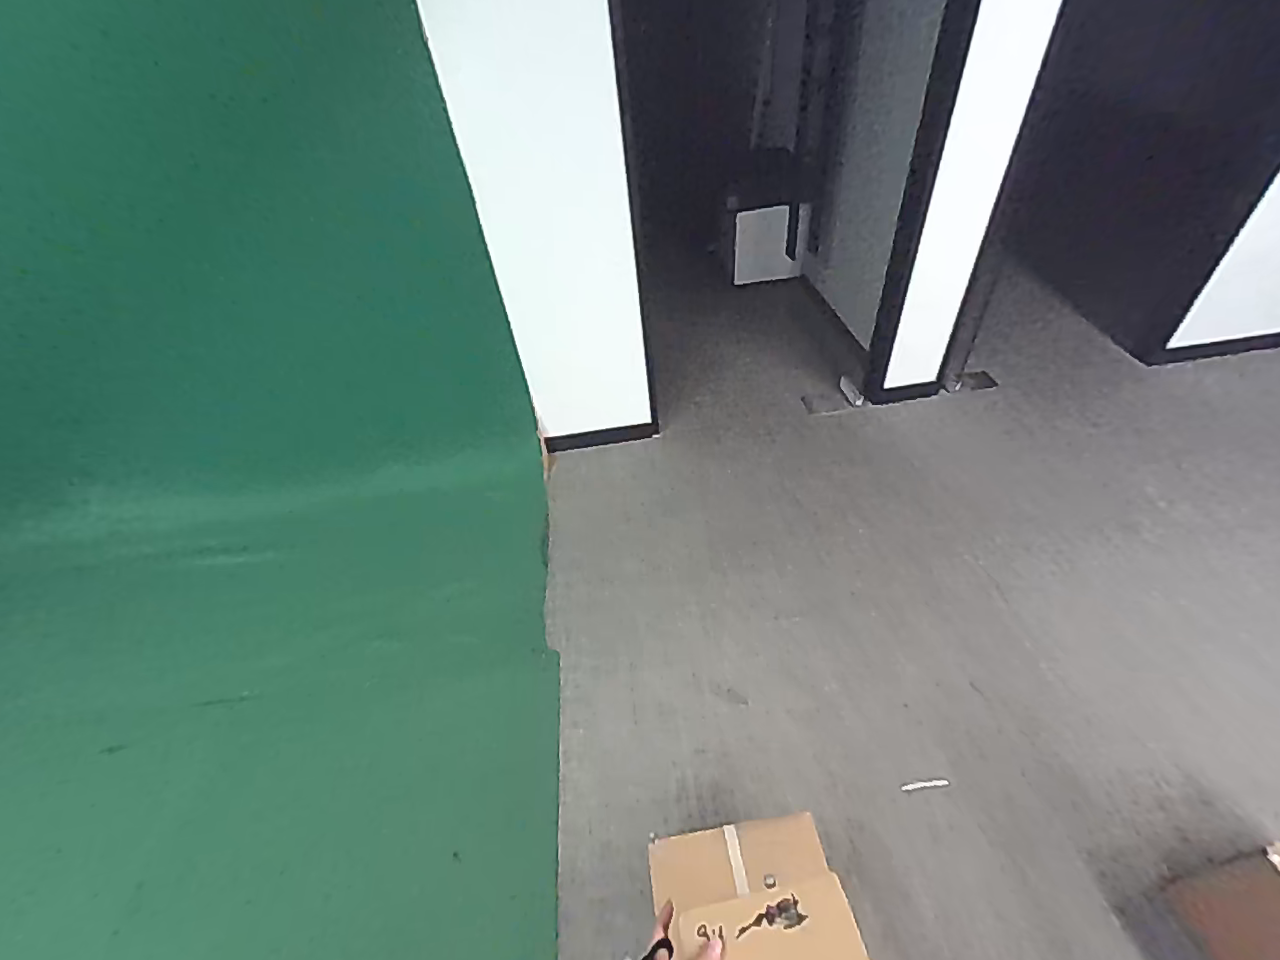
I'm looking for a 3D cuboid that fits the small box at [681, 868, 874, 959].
[{"bbox_3d":[0.143,0.514,0.528,0.168,0.176,0.179,-12,44,-4],"label":"small box"}]

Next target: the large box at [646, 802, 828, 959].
[{"bbox_3d":[0.207,0.874,0.974,0.320,0.320,0.408,-9,43,-1],"label":"large box"}]
